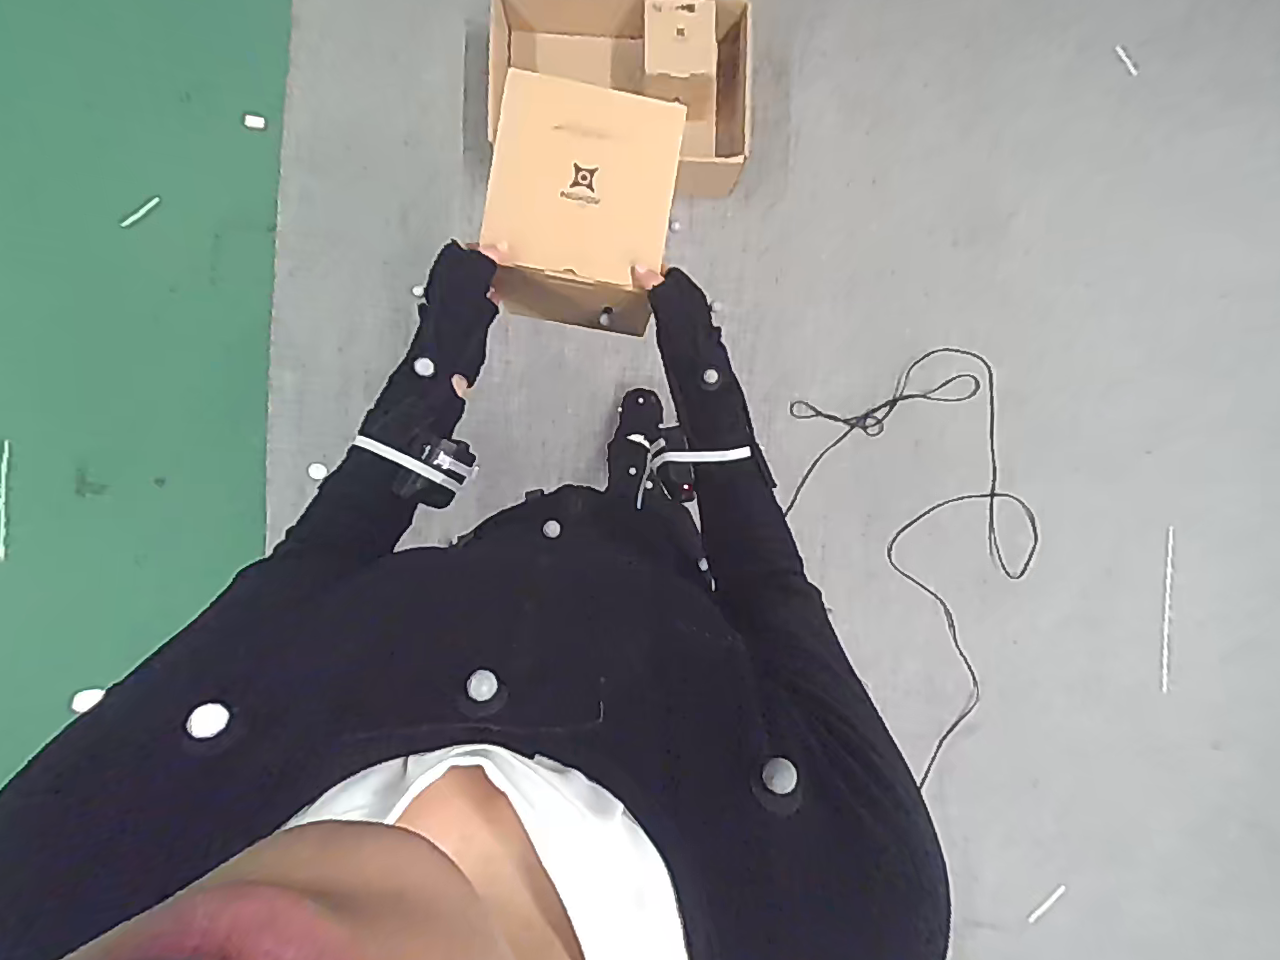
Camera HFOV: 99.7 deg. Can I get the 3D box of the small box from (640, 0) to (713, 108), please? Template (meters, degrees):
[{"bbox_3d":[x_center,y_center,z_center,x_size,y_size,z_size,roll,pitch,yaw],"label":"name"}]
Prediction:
[{"bbox_3d":[0.084,-1.039,1.311,0.168,0.176,0.179,-2,91,-1],"label":"small box"}]

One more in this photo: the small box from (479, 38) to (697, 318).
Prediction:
[{"bbox_3d":[-0.050,-0.279,0.545,0.168,0.176,0.179,10,91,-5],"label":"small box"}]
